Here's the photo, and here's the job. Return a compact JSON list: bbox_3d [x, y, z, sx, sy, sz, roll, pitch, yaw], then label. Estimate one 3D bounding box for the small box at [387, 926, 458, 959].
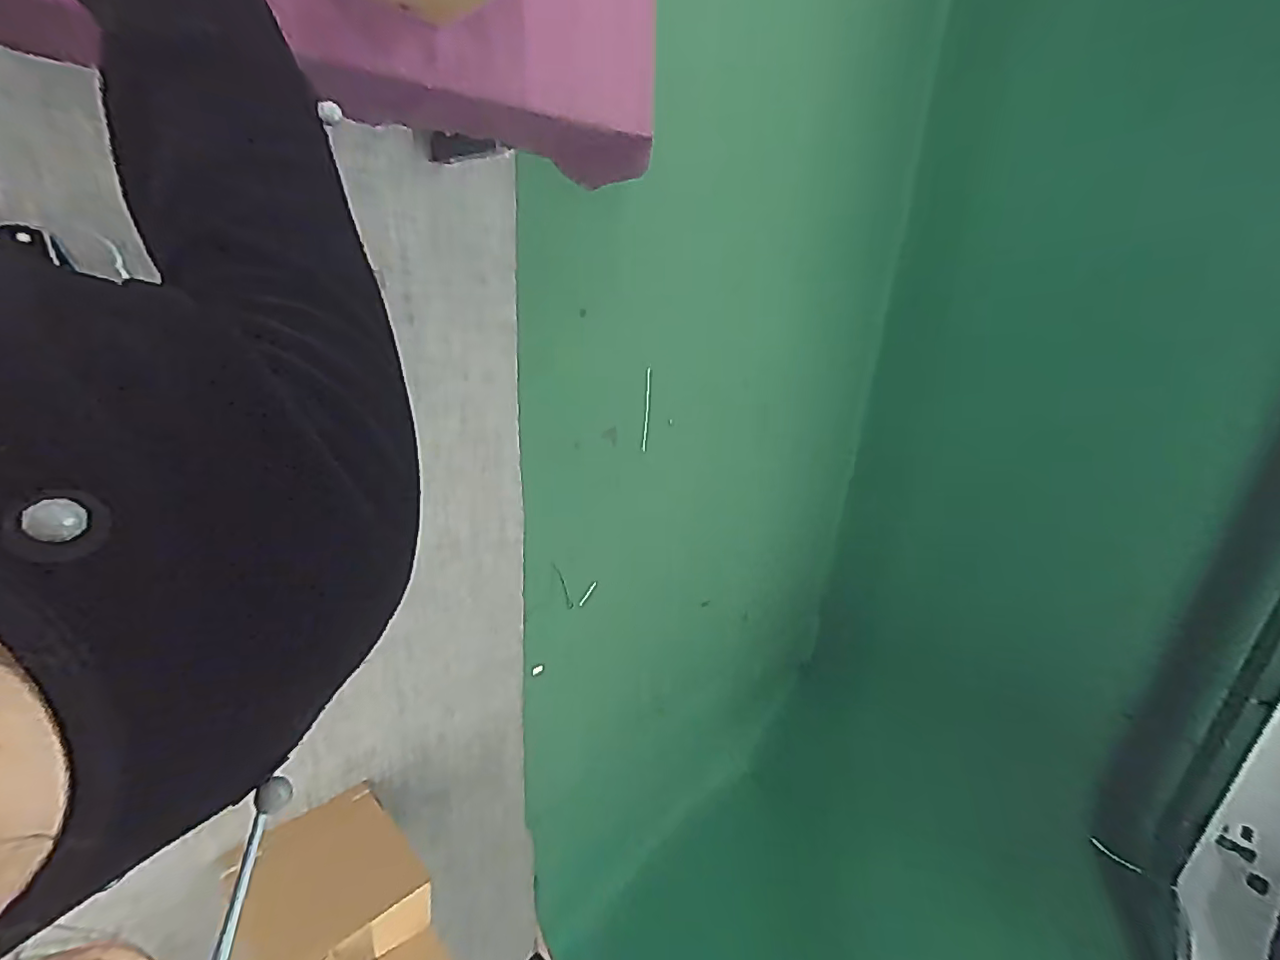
[{"bbox_3d":[-0.592,1.376,1.459,0.179,0.176,0.168,-3,108,-47],"label":"small box"}]
